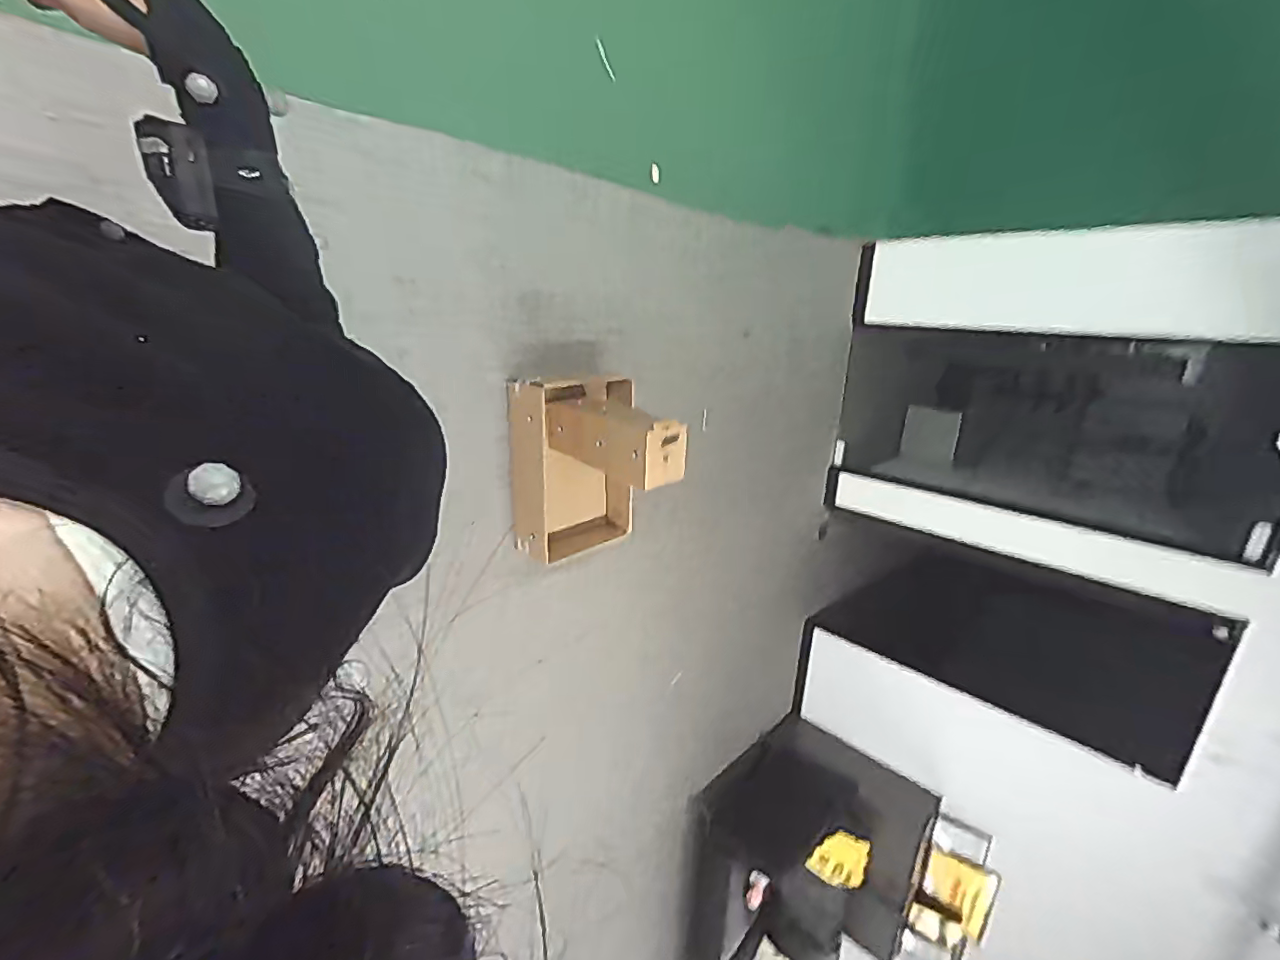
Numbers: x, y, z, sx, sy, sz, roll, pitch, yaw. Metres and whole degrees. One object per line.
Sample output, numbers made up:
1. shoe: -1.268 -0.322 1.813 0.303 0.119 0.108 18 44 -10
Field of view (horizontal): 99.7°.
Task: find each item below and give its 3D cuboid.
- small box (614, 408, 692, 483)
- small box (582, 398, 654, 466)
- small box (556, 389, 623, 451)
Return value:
1. small box: 0.036 -0.111 1.606 0.168 0.176 0.179 -17 118 -39
2. small box: -0.072 -0.160 1.718 0.168 0.176 0.179 -17 117 -39
3. small box: -0.175 -0.208 1.836 0.179 0.176 0.168 -19 119 -40
